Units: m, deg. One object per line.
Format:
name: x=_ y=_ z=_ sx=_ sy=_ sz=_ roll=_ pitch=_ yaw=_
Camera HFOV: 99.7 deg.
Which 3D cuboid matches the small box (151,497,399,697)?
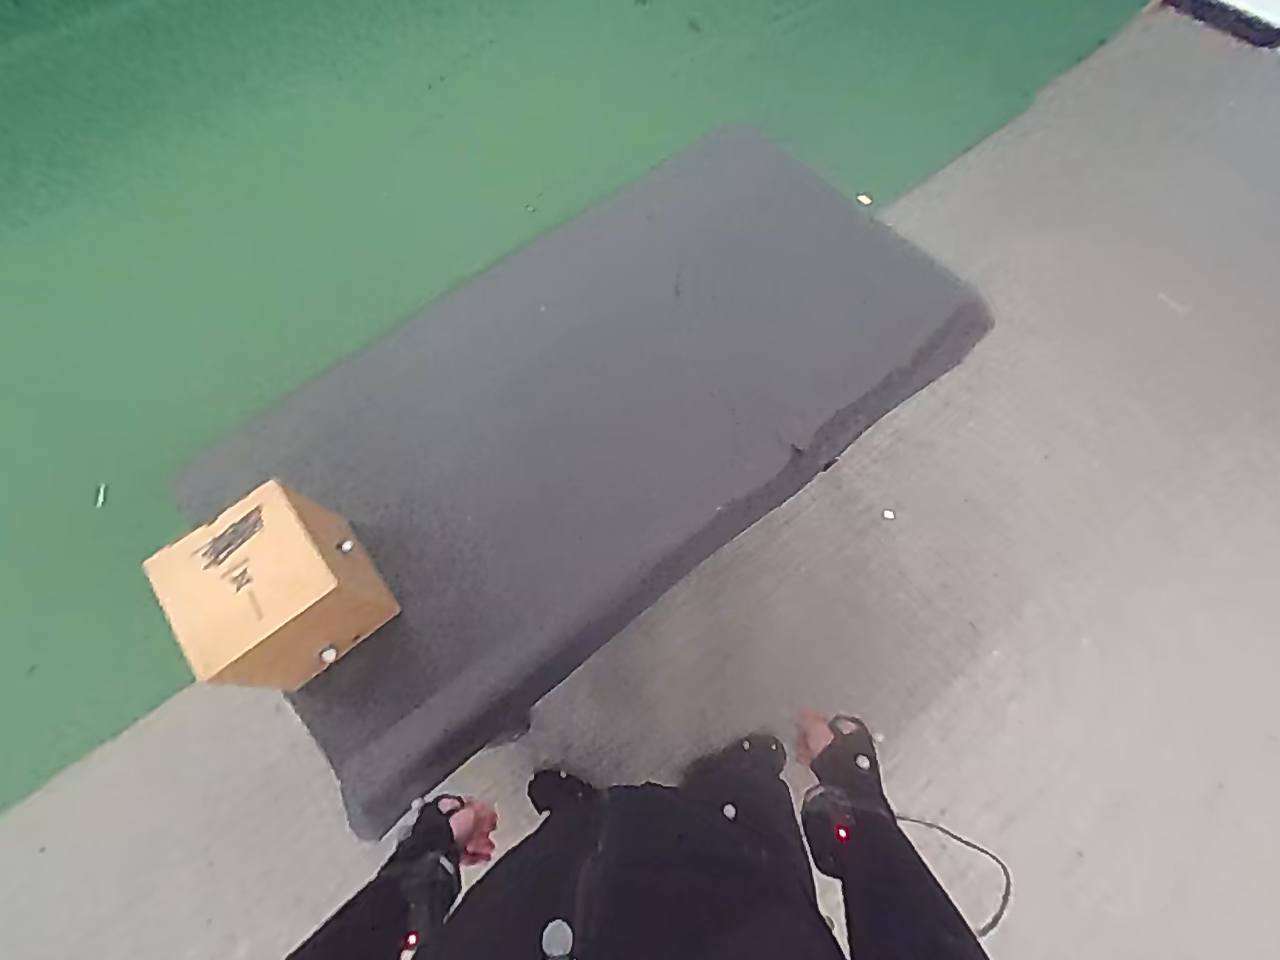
small box: x=-0.449 y=0.158 z=0.691 sx=0.168 sy=0.176 sz=0.179 roll=-39 pitch=71 yaw=-13
